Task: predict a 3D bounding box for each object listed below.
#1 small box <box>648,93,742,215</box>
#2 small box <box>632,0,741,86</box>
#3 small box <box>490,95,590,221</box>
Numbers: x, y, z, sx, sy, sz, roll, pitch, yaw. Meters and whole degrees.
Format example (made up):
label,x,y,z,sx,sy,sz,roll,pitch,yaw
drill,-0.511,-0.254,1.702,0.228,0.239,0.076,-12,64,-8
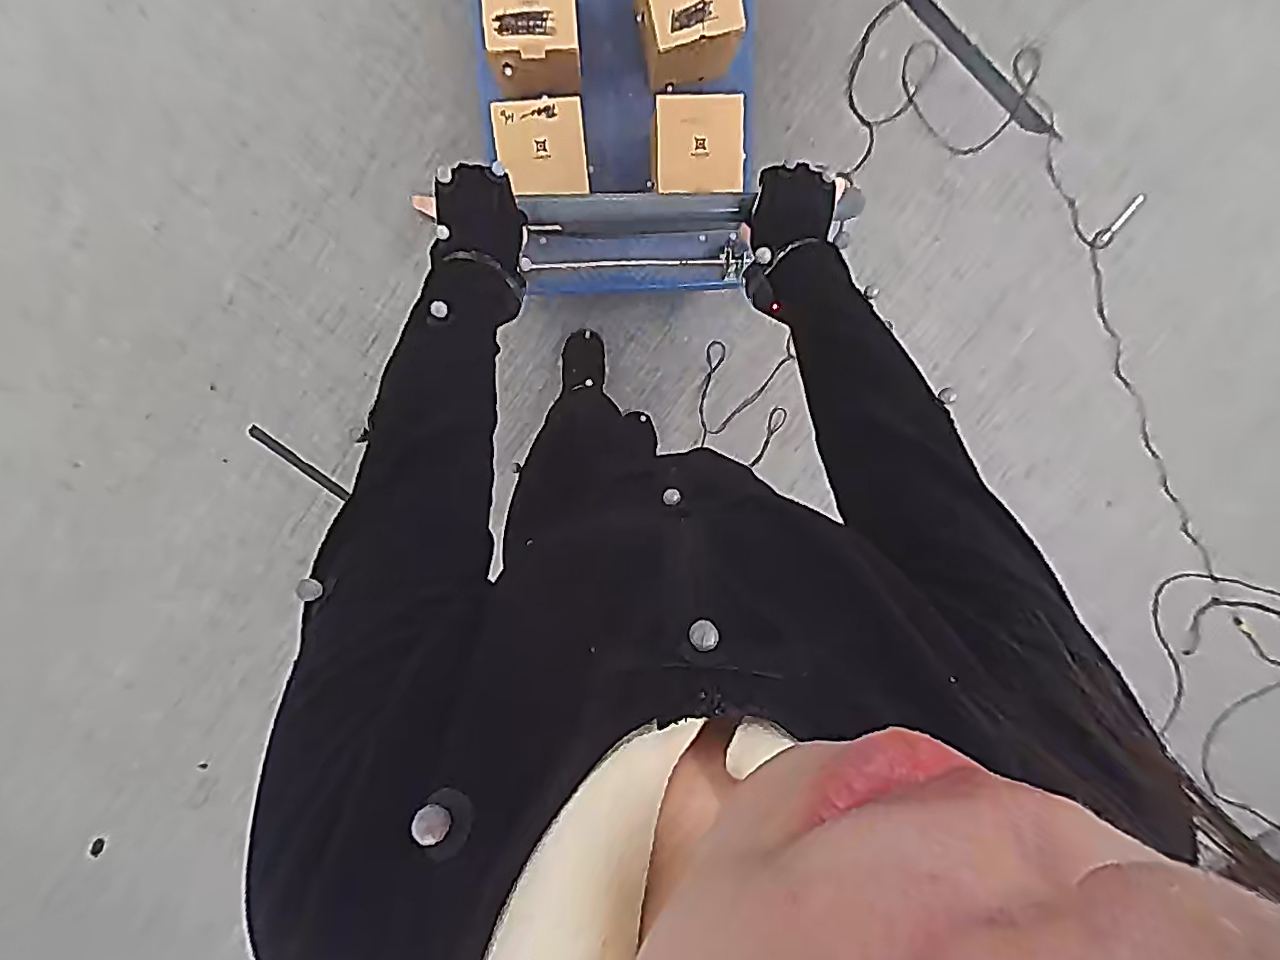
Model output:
label,x,y,z,sx,sy,sz,roll,pitch,yaw
small box,0.106,-0.649,1.097,0.168,0.176,0.179,-2,101,-4
small box,0.083,-0.900,1.043,0.168,0.176,0.179,-14,101,-1
small box,-0.191,-0.629,1.080,0.168,0.176,0.179,-6,102,-3
